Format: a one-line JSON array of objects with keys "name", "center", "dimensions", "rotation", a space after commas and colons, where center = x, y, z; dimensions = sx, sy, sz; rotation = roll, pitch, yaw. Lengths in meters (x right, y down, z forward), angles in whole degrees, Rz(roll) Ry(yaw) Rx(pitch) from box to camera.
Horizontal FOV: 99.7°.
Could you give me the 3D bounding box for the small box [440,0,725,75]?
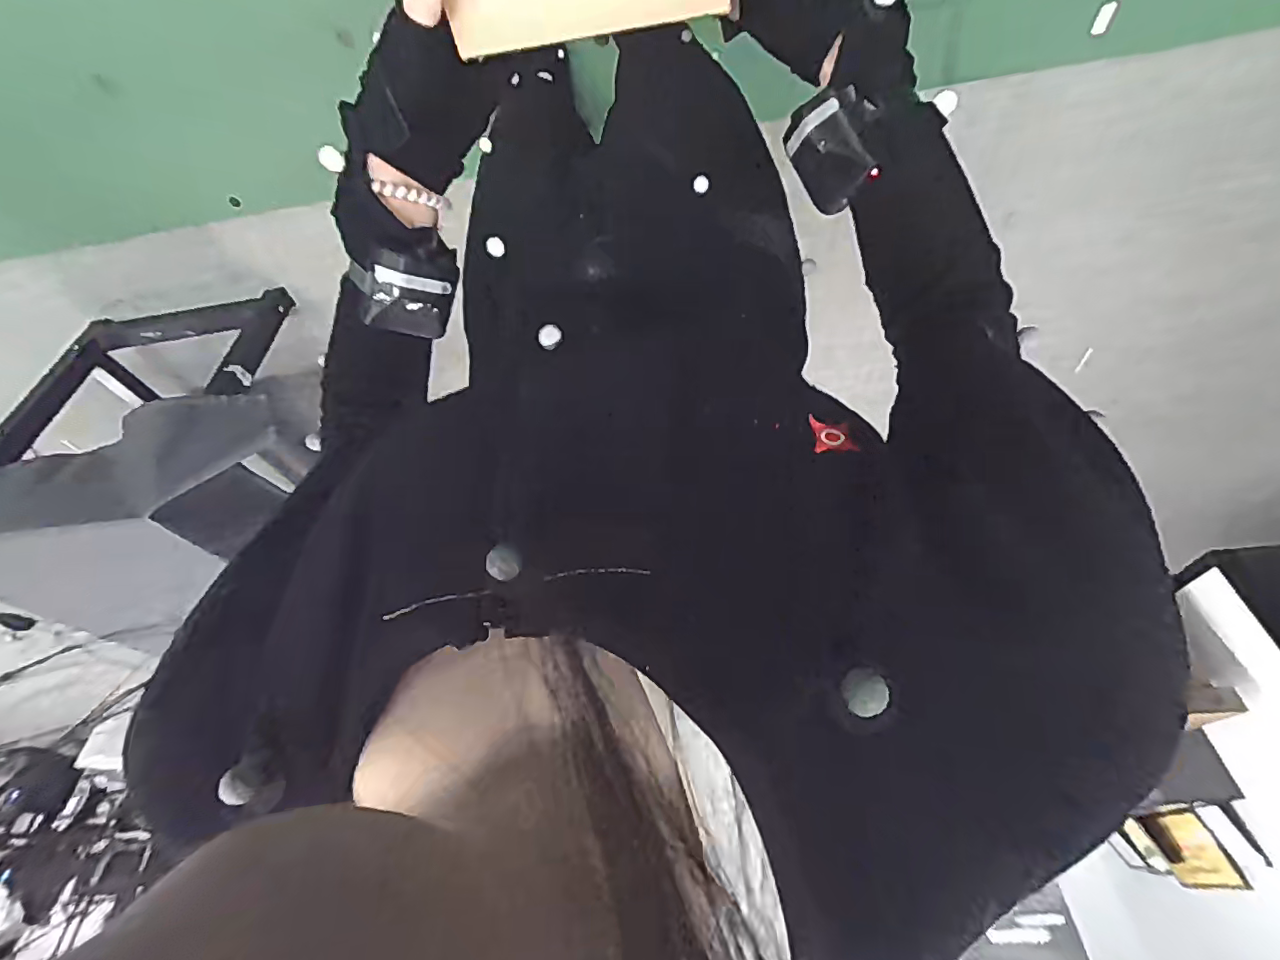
[{"name": "small box", "center": [-0.035, -0.372, 0.315], "dimensions": [0.168, 0.176, 0.179], "rotation": [-3, 136, 9]}]
